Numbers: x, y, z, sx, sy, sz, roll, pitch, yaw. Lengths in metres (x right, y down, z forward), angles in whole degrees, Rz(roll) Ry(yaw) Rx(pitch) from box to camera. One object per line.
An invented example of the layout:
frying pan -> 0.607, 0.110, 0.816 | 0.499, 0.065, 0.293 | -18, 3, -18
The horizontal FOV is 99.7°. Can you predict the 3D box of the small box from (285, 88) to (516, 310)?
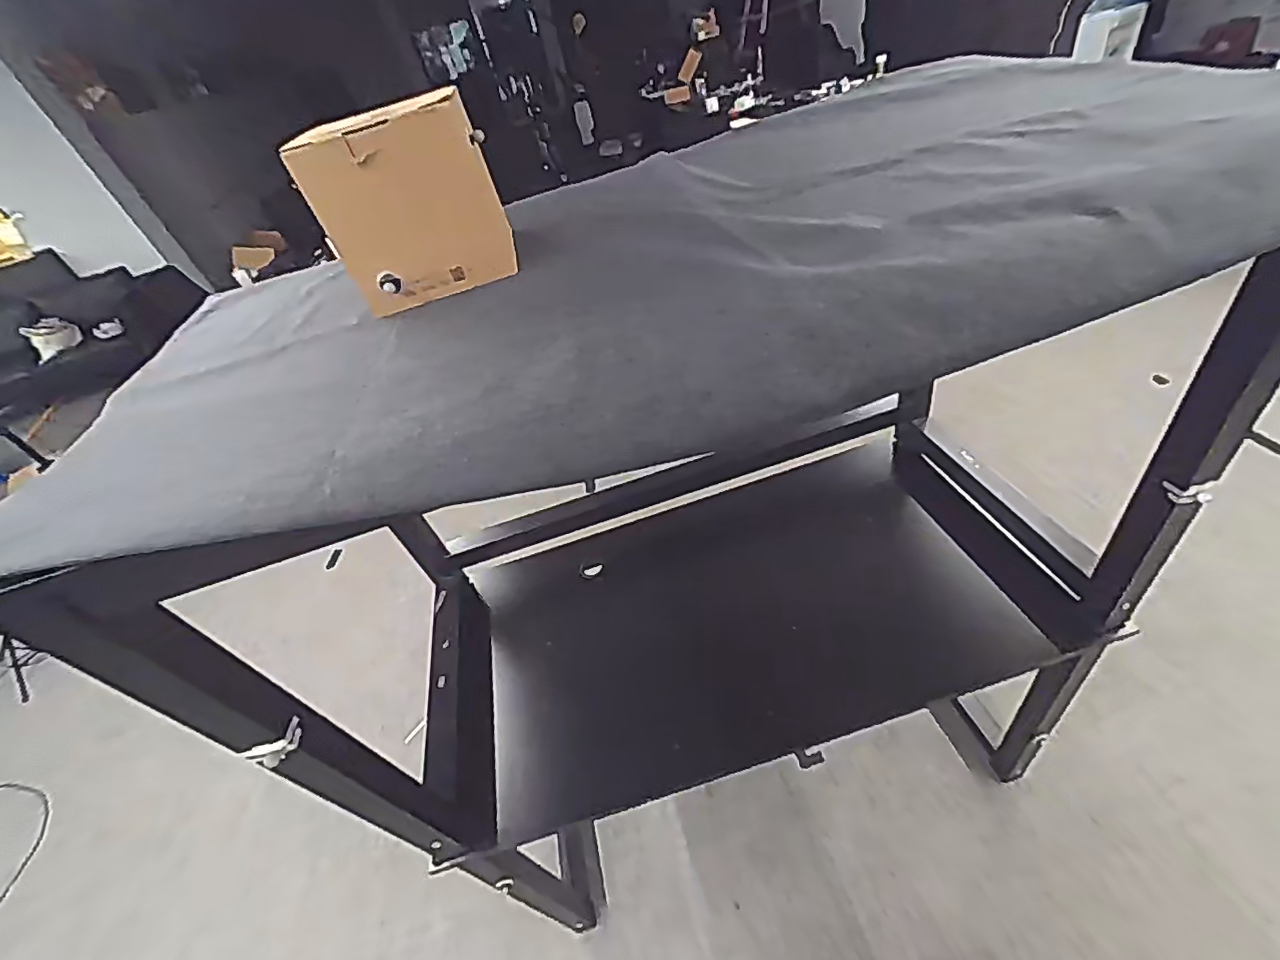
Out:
small box -> -0.248, -0.312, 0.610 | 0.168, 0.176, 0.179 | -18, 40, -1
